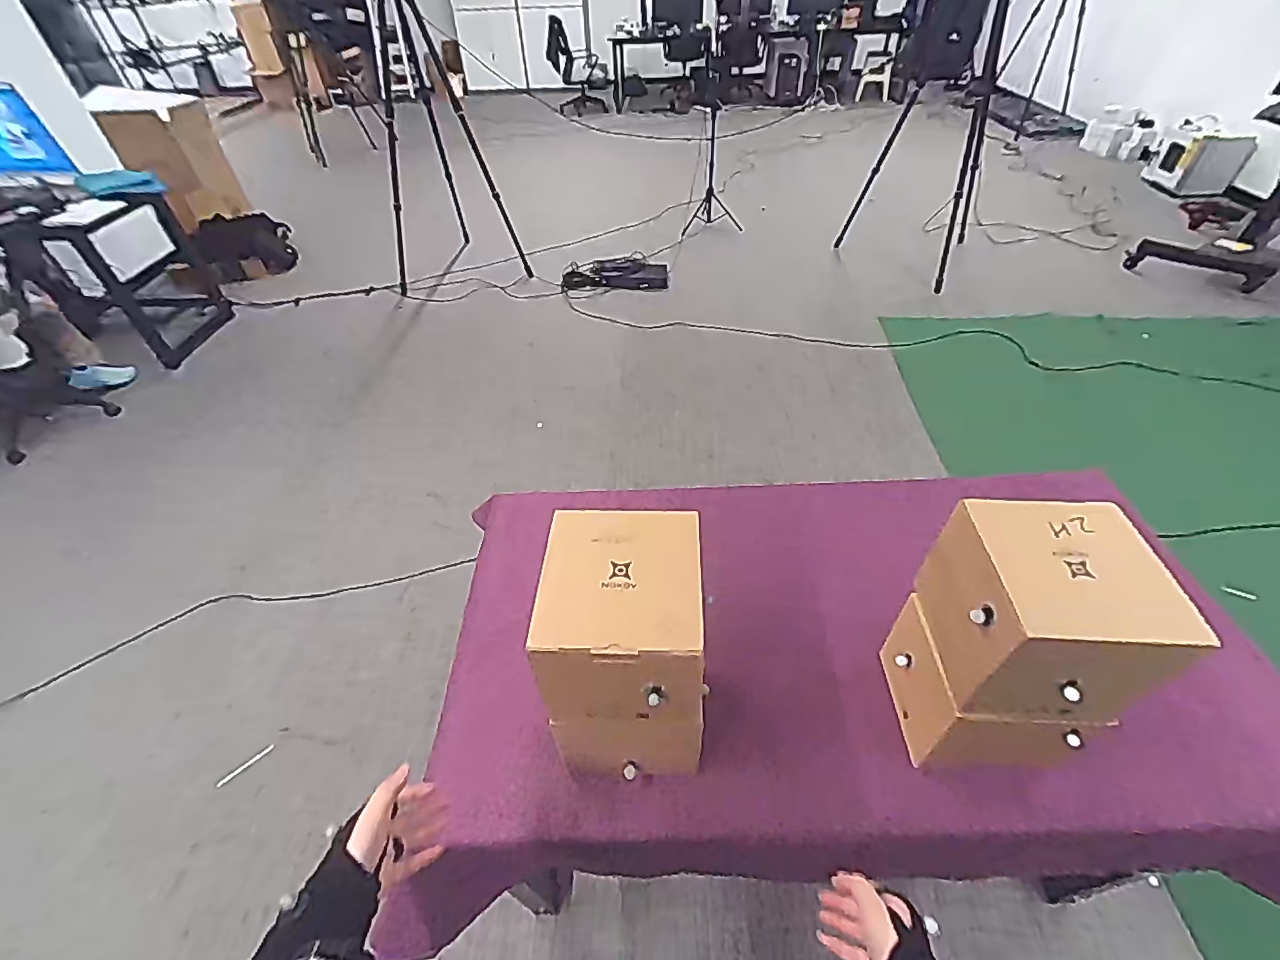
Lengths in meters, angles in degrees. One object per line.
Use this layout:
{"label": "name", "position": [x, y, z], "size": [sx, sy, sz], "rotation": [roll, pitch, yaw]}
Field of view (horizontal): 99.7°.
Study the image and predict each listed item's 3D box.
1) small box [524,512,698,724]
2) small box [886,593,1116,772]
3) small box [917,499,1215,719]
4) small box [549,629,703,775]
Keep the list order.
{"label": "small box", "position": [-0.018, 0.155, 0.607], "size": [0.168, 0.176, 0.179], "rotation": [1, 44, 4]}
{"label": "small box", "position": [0.439, 0.263, 0.703], "size": [0.179, 0.176, 0.168], "rotation": [0, 44, 3]}
{"label": "small box", "position": [0.432, 0.142, 0.592], "size": [0.168, 0.176, 0.179], "rotation": [2, 44, 5]}
{"label": "small box", "position": [-0.013, 0.276, 0.718], "size": [0.179, 0.176, 0.168], "rotation": [0, 44, 2]}
